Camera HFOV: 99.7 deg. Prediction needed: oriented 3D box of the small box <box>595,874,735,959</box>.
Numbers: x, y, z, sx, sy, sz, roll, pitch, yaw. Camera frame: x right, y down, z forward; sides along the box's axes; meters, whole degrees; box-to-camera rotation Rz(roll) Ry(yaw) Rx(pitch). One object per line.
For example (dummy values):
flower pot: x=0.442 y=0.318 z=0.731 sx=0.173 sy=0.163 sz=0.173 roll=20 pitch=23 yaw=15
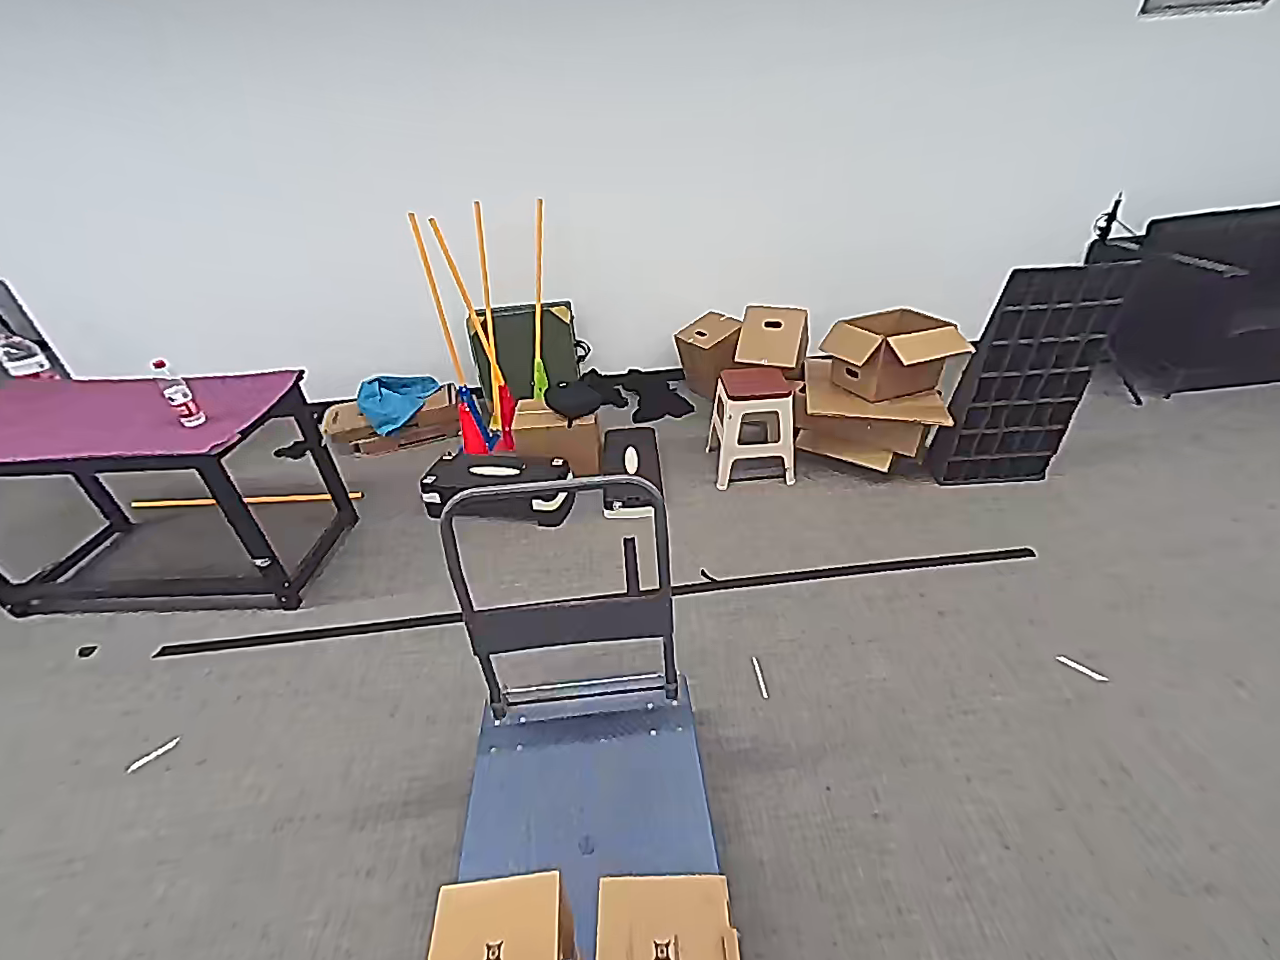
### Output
small box: x=0.034 y=0.655 z=0.720 sx=0.179 sy=0.176 sz=0.168 roll=-2 pitch=33 yaw=3

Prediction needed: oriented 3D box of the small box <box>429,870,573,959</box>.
small box: x=-0.181 y=0.664 z=0.724 sx=0.168 sy=0.176 sz=0.179 roll=-5 pitch=35 yaw=-3
